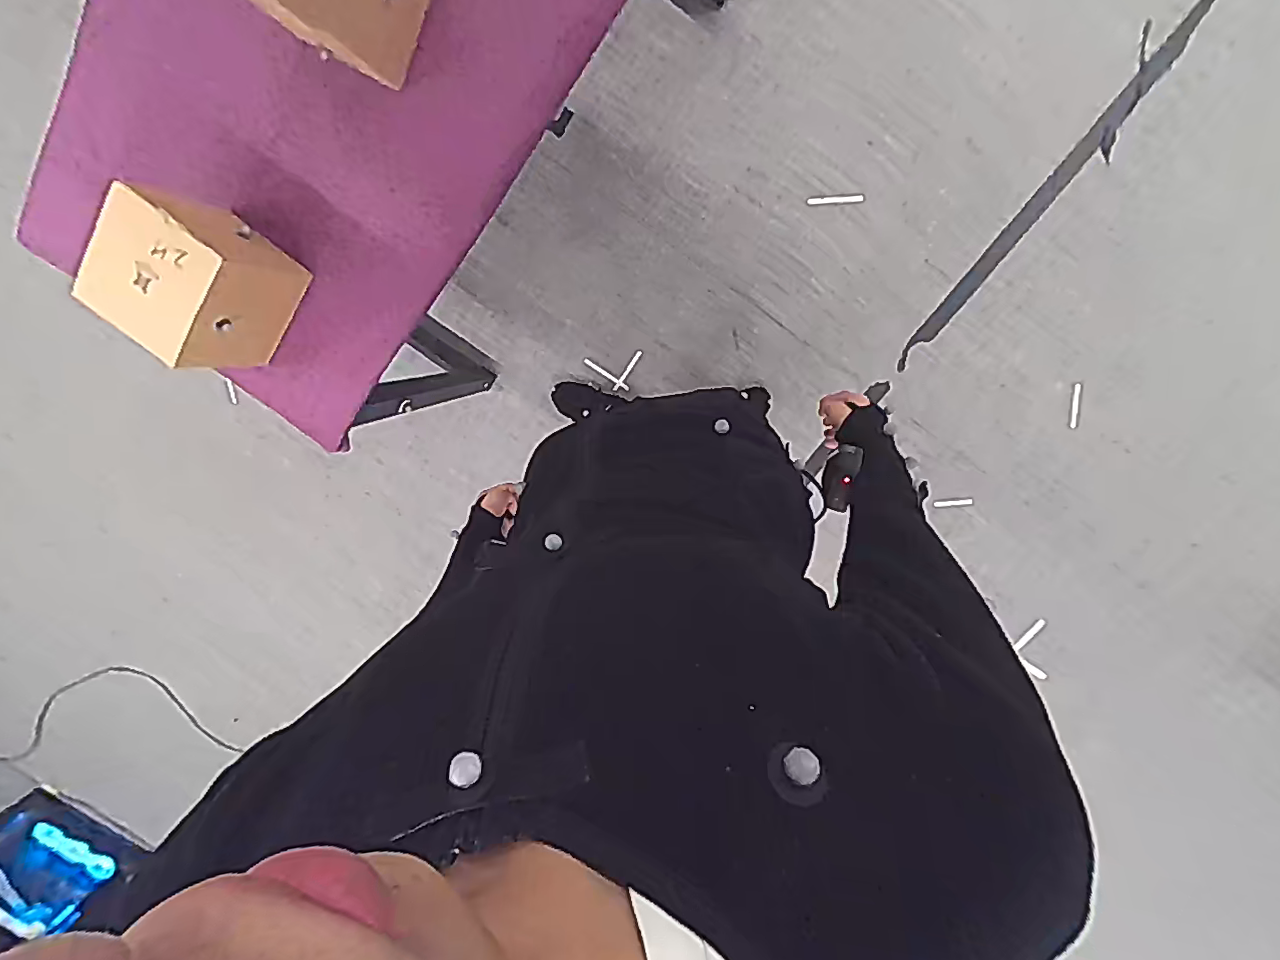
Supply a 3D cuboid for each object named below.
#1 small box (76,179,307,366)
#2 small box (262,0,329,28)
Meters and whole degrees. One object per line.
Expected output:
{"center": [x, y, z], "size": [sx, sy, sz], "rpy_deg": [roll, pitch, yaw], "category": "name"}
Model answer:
{"center": [-0.633, -0.286, 0.784], "size": [0.168, 0.176, 0.179], "rpy_deg": [38, 105, -4], "category": "small box"}
{"center": [-0.398, -0.595, 0.513], "size": [0.168, 0.176, 0.179], "rpy_deg": [33, 105, -3], "category": "small box"}
